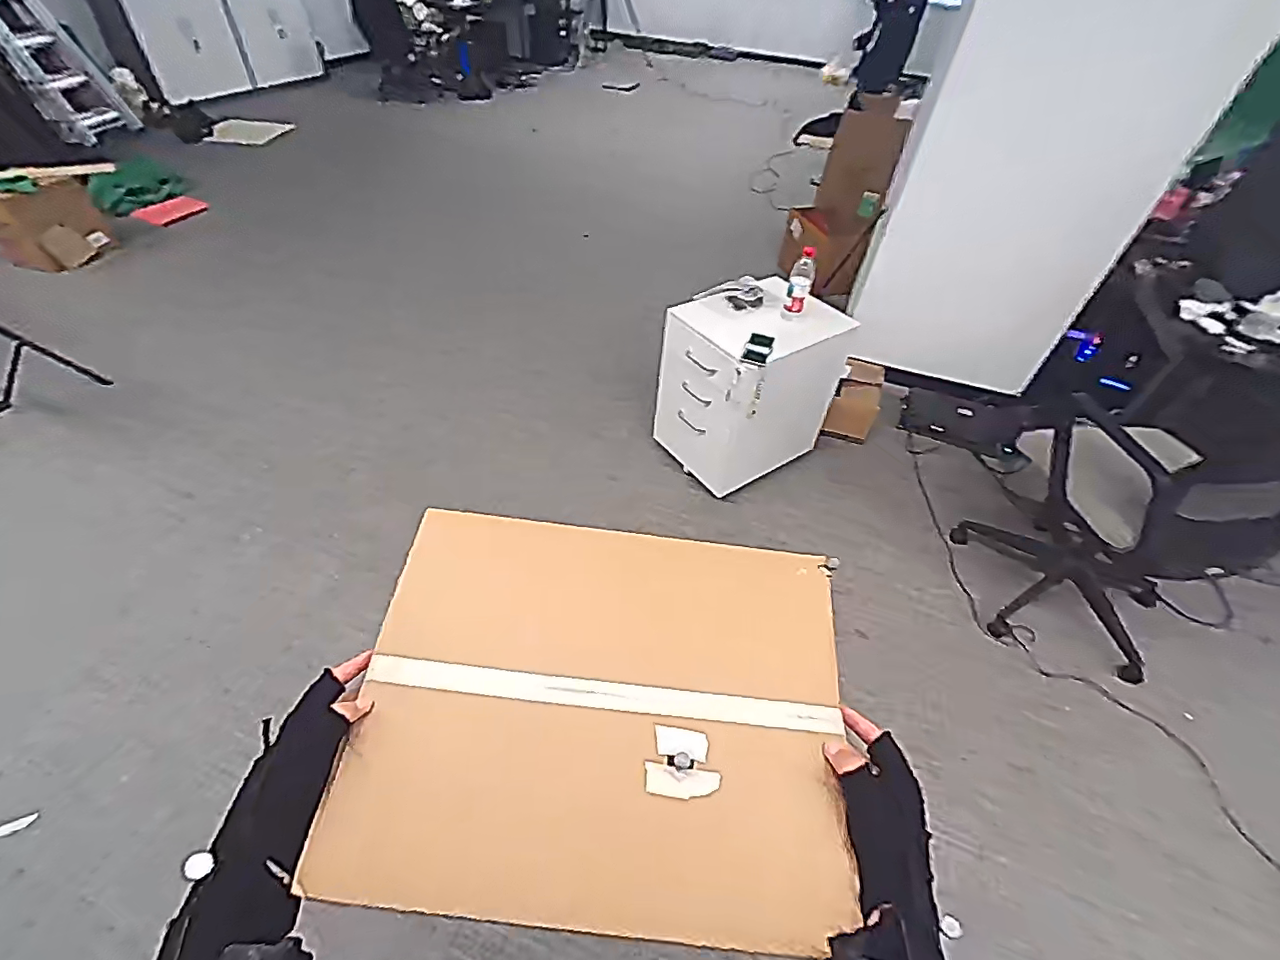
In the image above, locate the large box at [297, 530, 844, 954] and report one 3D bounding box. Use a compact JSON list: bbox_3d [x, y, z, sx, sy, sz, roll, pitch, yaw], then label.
[{"bbox_3d":[-0.050,0.277,0.591,0.408,0.320,0.320,7,57,-2],"label":"large box"}]
